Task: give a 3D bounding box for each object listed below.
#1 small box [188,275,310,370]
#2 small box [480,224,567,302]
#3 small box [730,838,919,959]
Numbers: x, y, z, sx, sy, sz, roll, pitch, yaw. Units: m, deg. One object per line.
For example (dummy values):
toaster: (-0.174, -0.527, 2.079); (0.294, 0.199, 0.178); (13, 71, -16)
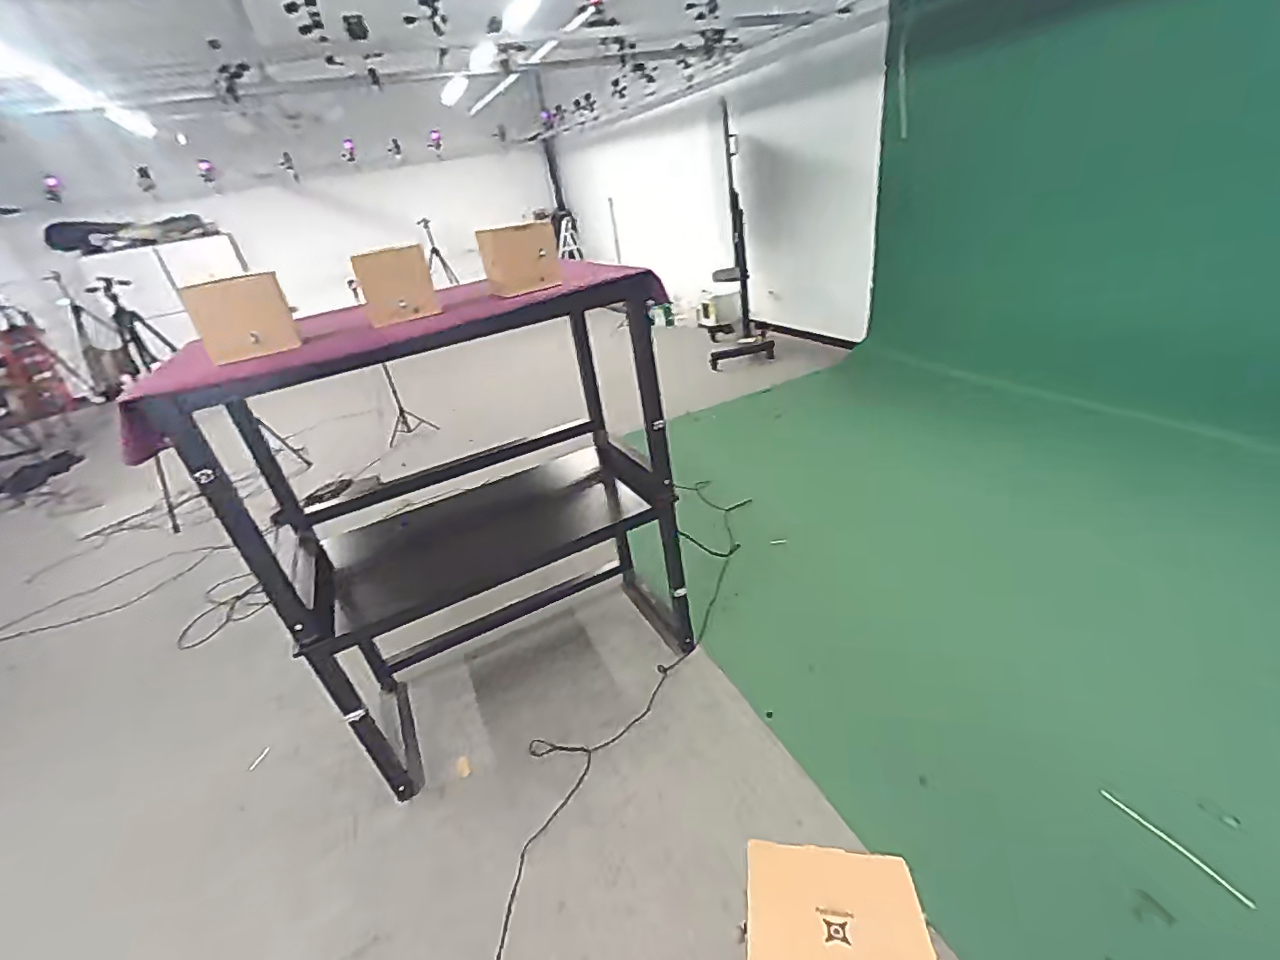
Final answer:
small box: (-0.888, -0.368, 1.250); (0.179, 0.176, 0.168); (-21, 29, -22)
small box: (-0.316, -0.592, 1.481); (0.168, 0.176, 0.179); (-22, 29, -21)
small box: (0.173, 0.495, 0.520); (0.168, 0.176, 0.179); (-1, 11, 11)
